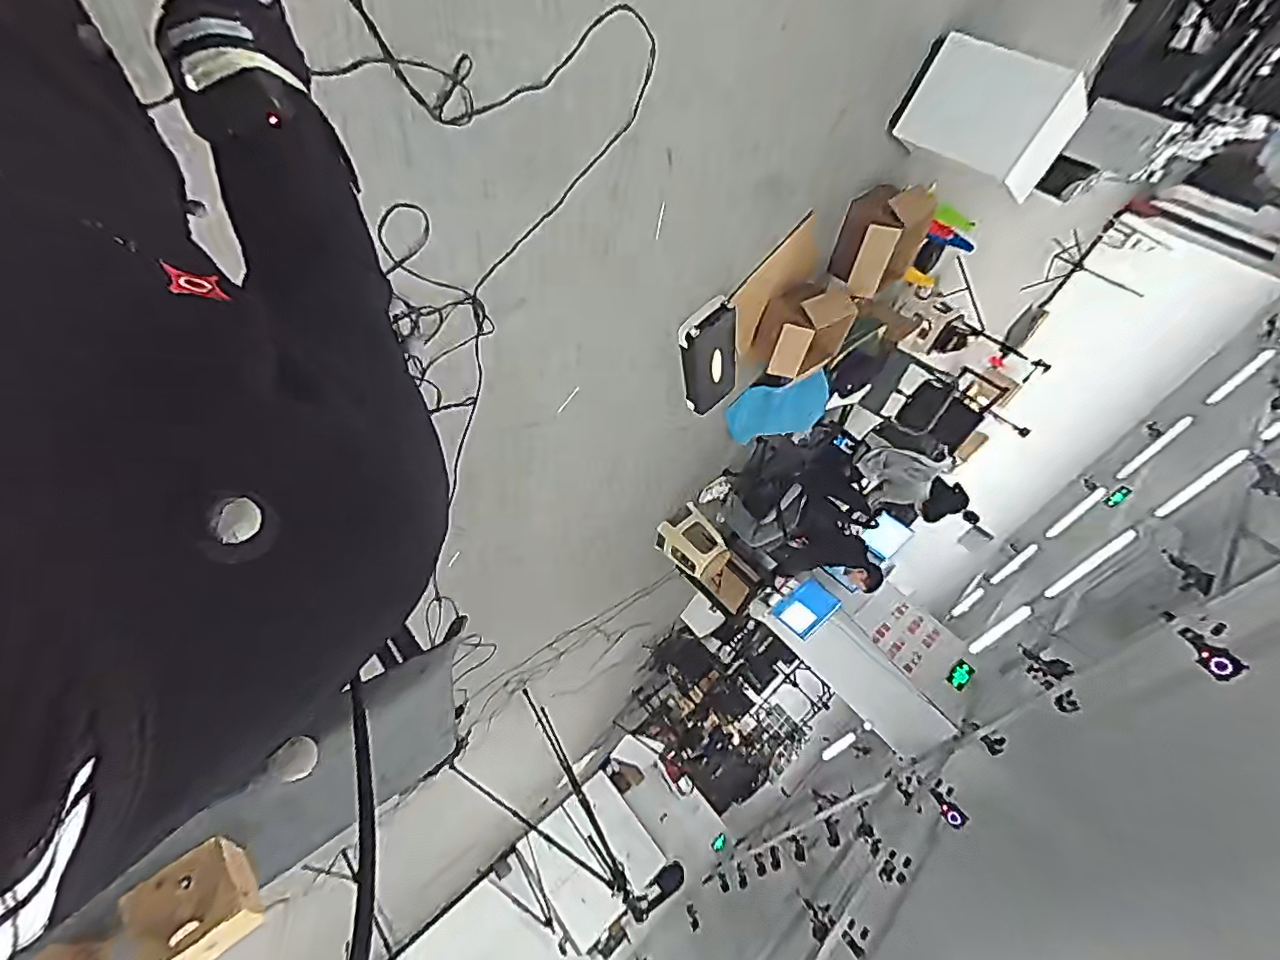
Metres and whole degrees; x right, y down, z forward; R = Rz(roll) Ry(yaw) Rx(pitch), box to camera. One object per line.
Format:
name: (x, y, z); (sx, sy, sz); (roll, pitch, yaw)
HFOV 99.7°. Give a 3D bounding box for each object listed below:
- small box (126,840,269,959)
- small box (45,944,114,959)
small box: (-0.917, 0.895, 1.129); (0.168, 0.176, 0.179); (-28, 150, -34)
small box: (-1.101, 1.001, 0.994); (0.168, 0.176, 0.179); (-29, 152, -31)
